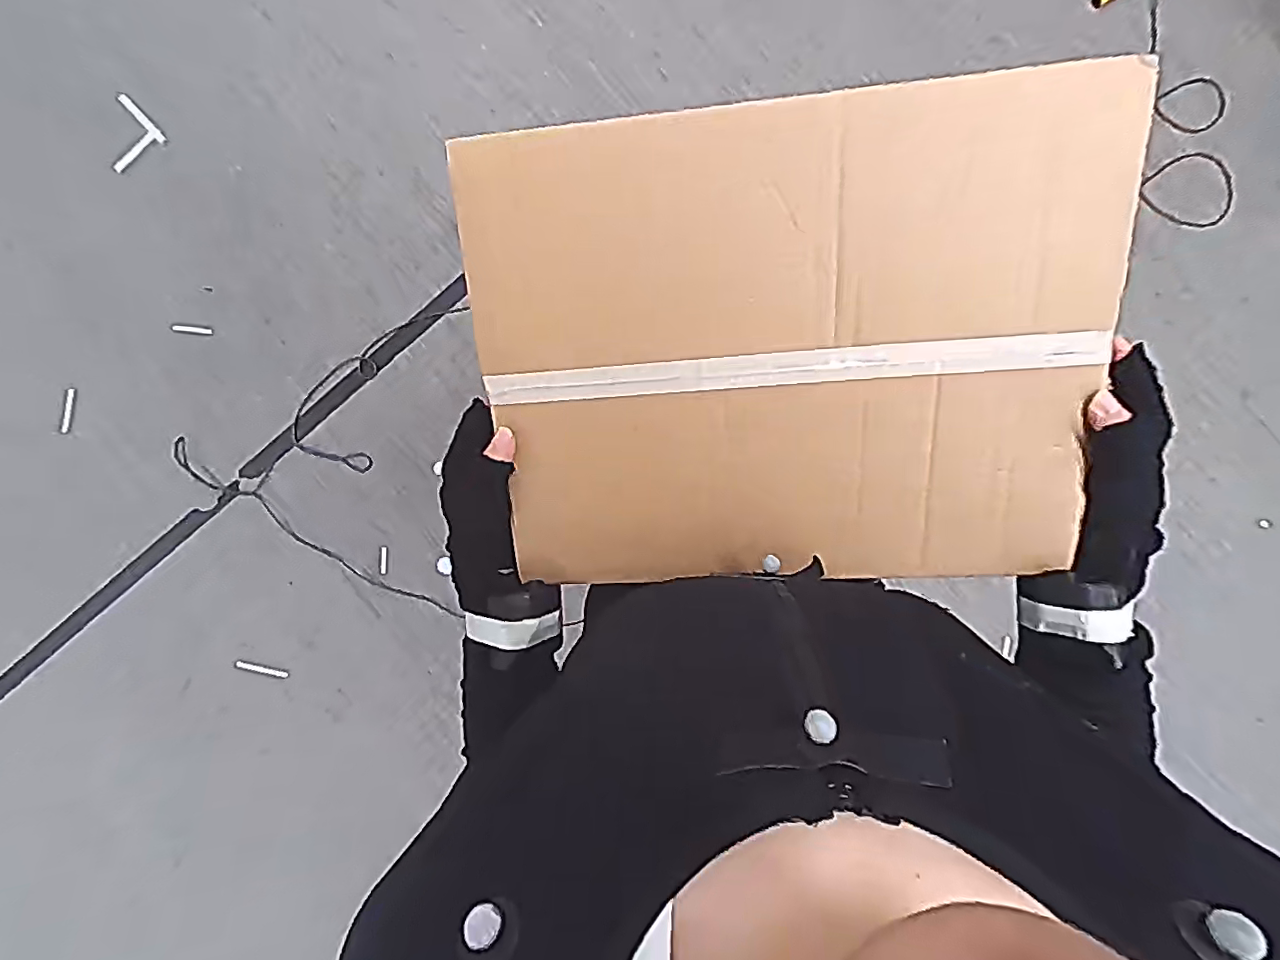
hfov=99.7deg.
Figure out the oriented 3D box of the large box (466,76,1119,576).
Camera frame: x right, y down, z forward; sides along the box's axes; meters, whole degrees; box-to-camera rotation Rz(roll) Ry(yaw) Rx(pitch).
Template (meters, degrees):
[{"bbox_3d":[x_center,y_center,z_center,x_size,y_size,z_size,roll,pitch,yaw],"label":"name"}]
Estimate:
[{"bbox_3d":[0.105,-0.122,0.518,0.408,0.320,0.320,-2,109,6],"label":"large box"}]
